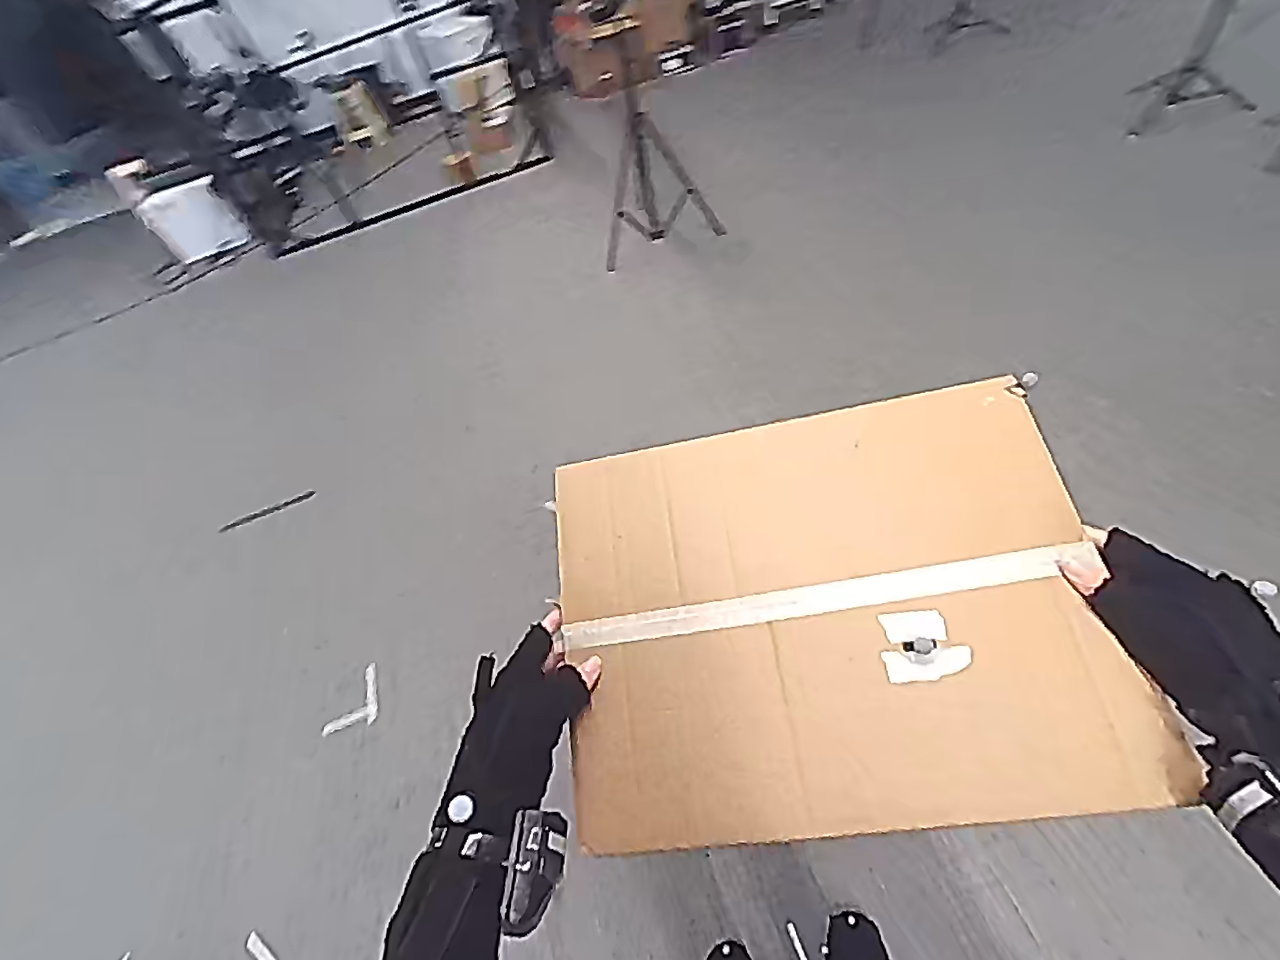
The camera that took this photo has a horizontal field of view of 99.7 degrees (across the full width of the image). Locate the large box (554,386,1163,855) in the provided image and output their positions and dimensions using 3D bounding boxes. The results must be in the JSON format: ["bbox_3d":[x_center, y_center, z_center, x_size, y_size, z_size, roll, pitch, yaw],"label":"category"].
[{"bbox_3d":[0.159,0.153,0.571,0.408,0.320,0.320,-12,67,8],"label":"large box"}]
